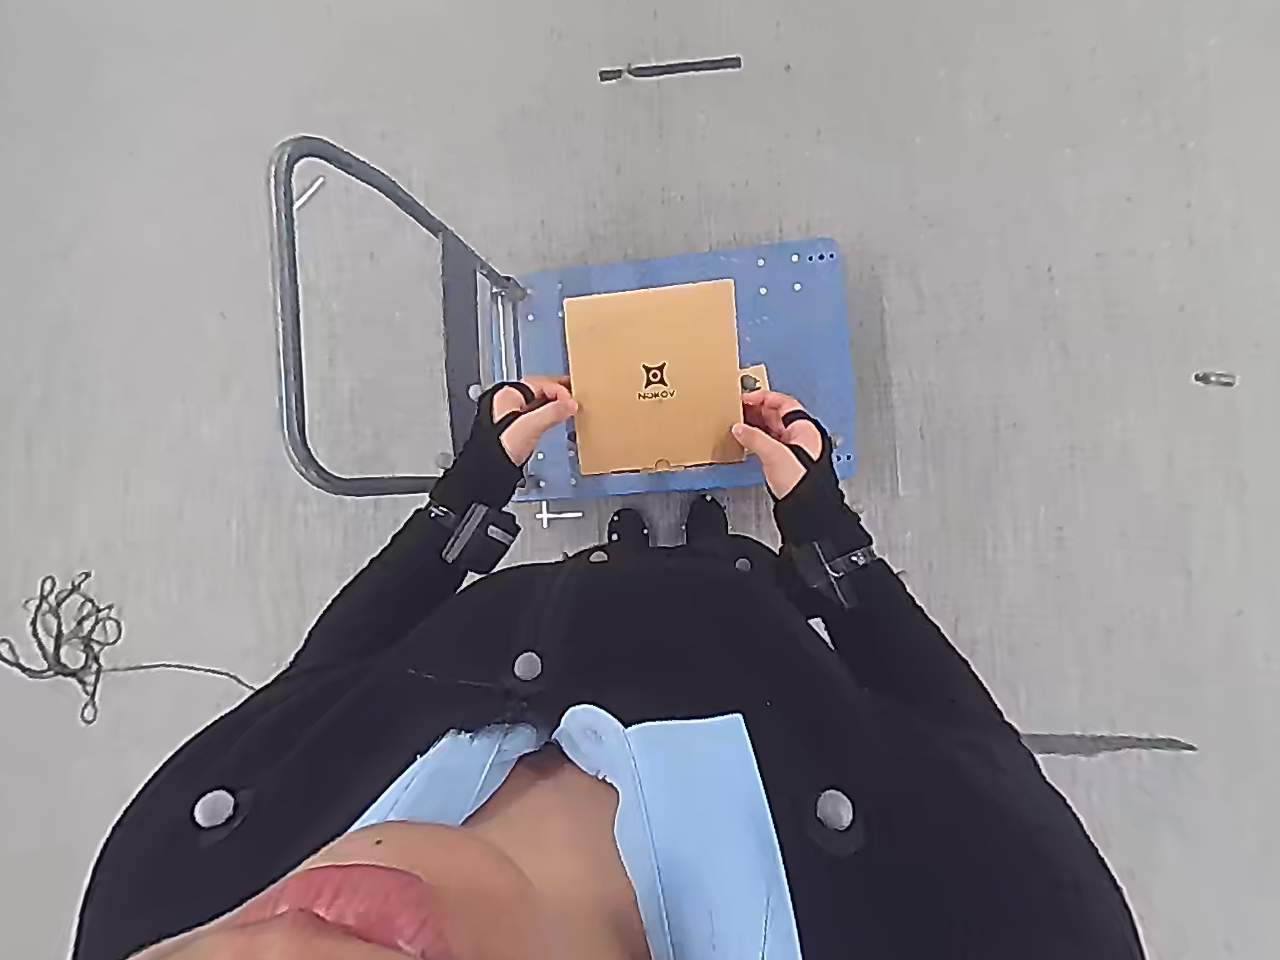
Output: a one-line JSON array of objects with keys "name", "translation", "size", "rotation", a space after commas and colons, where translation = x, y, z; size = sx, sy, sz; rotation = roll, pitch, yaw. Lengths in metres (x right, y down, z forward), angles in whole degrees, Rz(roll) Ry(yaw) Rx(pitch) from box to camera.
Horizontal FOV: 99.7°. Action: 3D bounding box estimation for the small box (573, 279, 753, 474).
[{"name": "small box", "translation": [0.026, -0.106, 0.595], "size": [0.168, 0.176, 0.179], "rotation": [-4, 97, 4]}]
